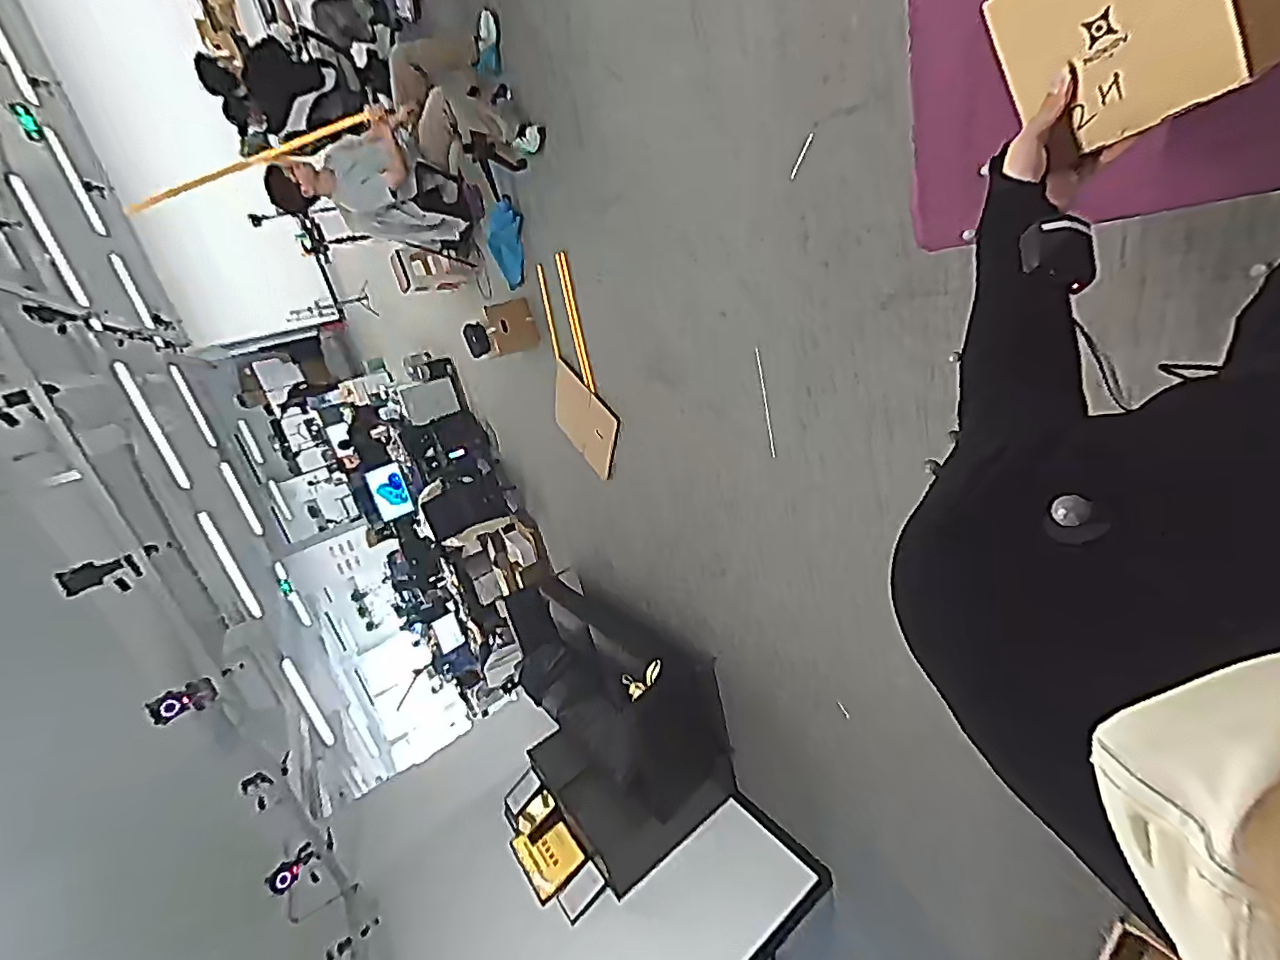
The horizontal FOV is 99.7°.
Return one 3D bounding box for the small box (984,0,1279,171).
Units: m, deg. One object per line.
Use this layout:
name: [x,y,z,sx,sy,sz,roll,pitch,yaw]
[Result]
small box: [0.469,-0.431,0.490,0.179,0.176,0.168,59,170,-14]
